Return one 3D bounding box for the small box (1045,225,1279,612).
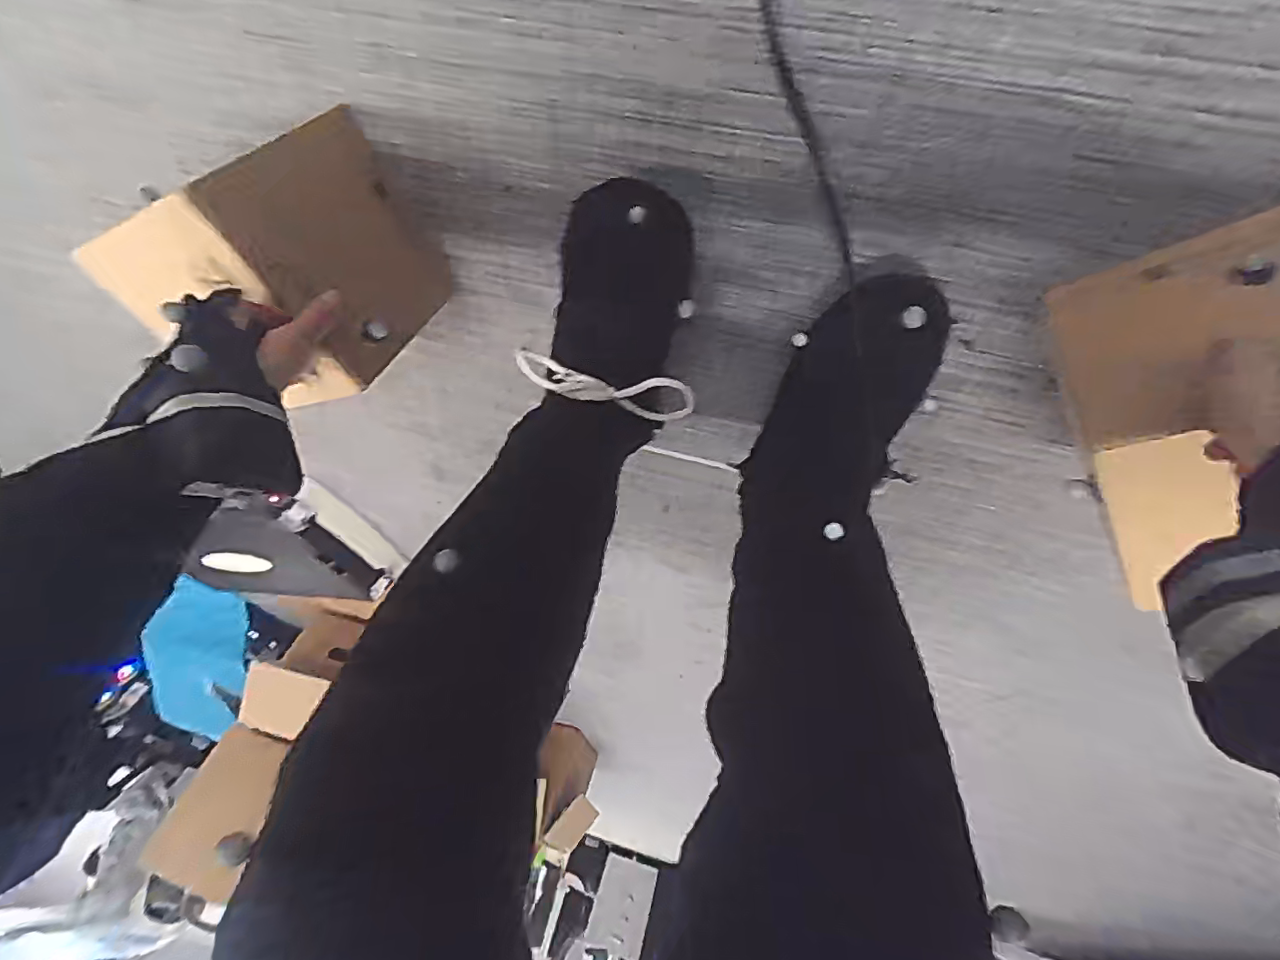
[{"bbox_3d":[0.394,-0.035,0.354,0.168,0.176,0.179,-17,128,37],"label":"small box"}]
